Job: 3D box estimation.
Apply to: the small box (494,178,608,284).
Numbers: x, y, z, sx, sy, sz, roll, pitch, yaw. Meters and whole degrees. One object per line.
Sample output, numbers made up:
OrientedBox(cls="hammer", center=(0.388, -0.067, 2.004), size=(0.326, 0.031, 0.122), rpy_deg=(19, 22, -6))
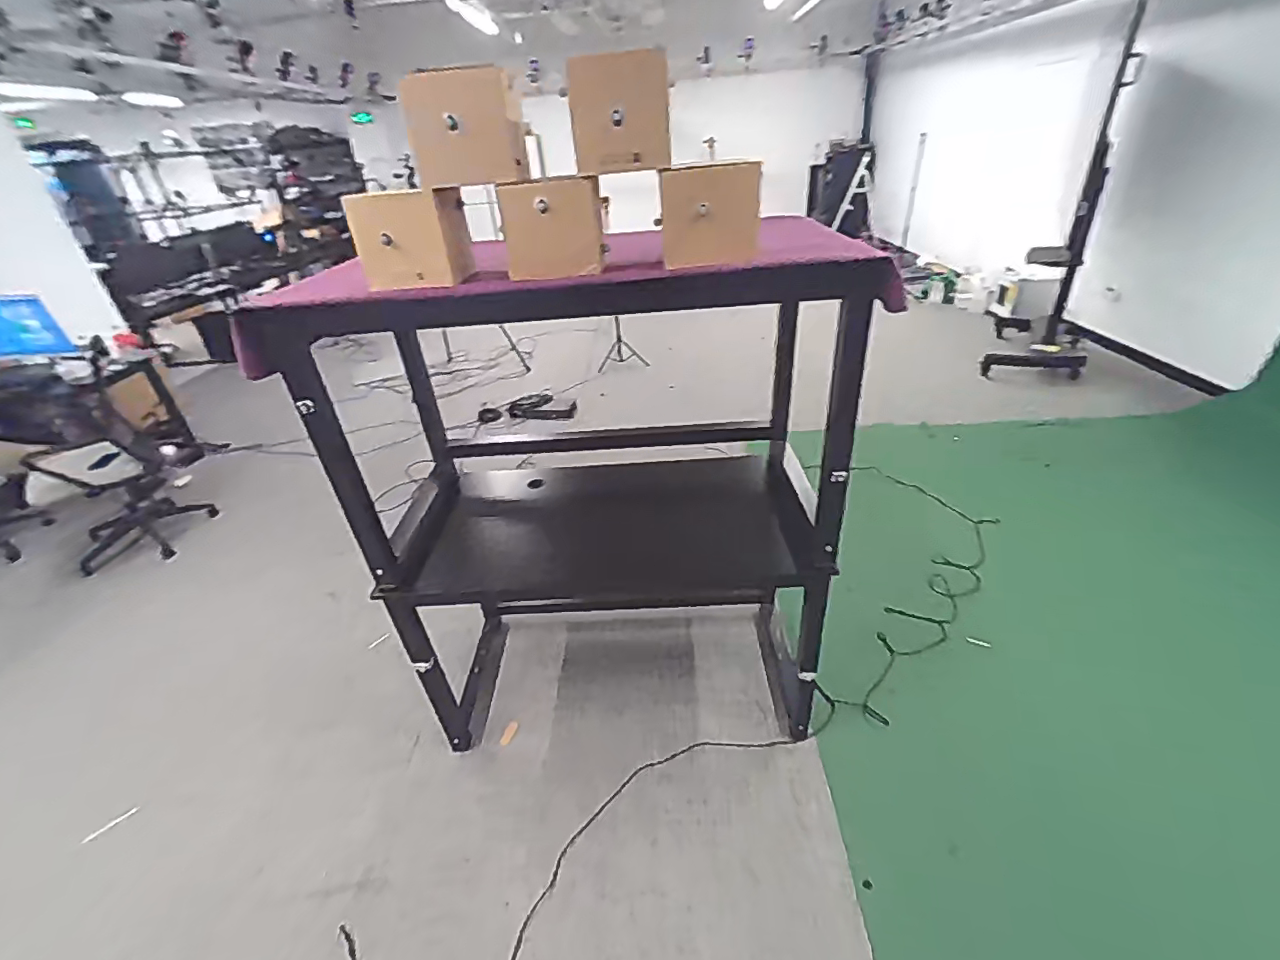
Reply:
OrientedBox(cls="small box", center=(-0.162, -0.483, 1.048), size=(0.179, 0.176, 0.168), rpy_deg=(-3, 31, 3))

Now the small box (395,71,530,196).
OrientedBox(cls="small box", center=(-0.305, -0.620, 0.977), size=(0.179, 0.176, 0.168), rpy_deg=(-5, 31, 2))

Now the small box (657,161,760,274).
OrientedBox(cls="small box", center=(0.128, -0.500, 1.030), size=(0.179, 0.176, 0.168), rpy_deg=(-5, 32, 3))

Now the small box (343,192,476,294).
OrientedBox(cls="small box", center=(-0.436, -0.465, 1.059), size=(0.168, 0.176, 0.179), rpy_deg=(-4, 30, 2))

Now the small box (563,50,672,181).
OrientedBox(cls="small box", center=(-0.033, -0.631, 0.954), size=(0.168, 0.176, 0.179), rpy_deg=(-4, 31, 2))
